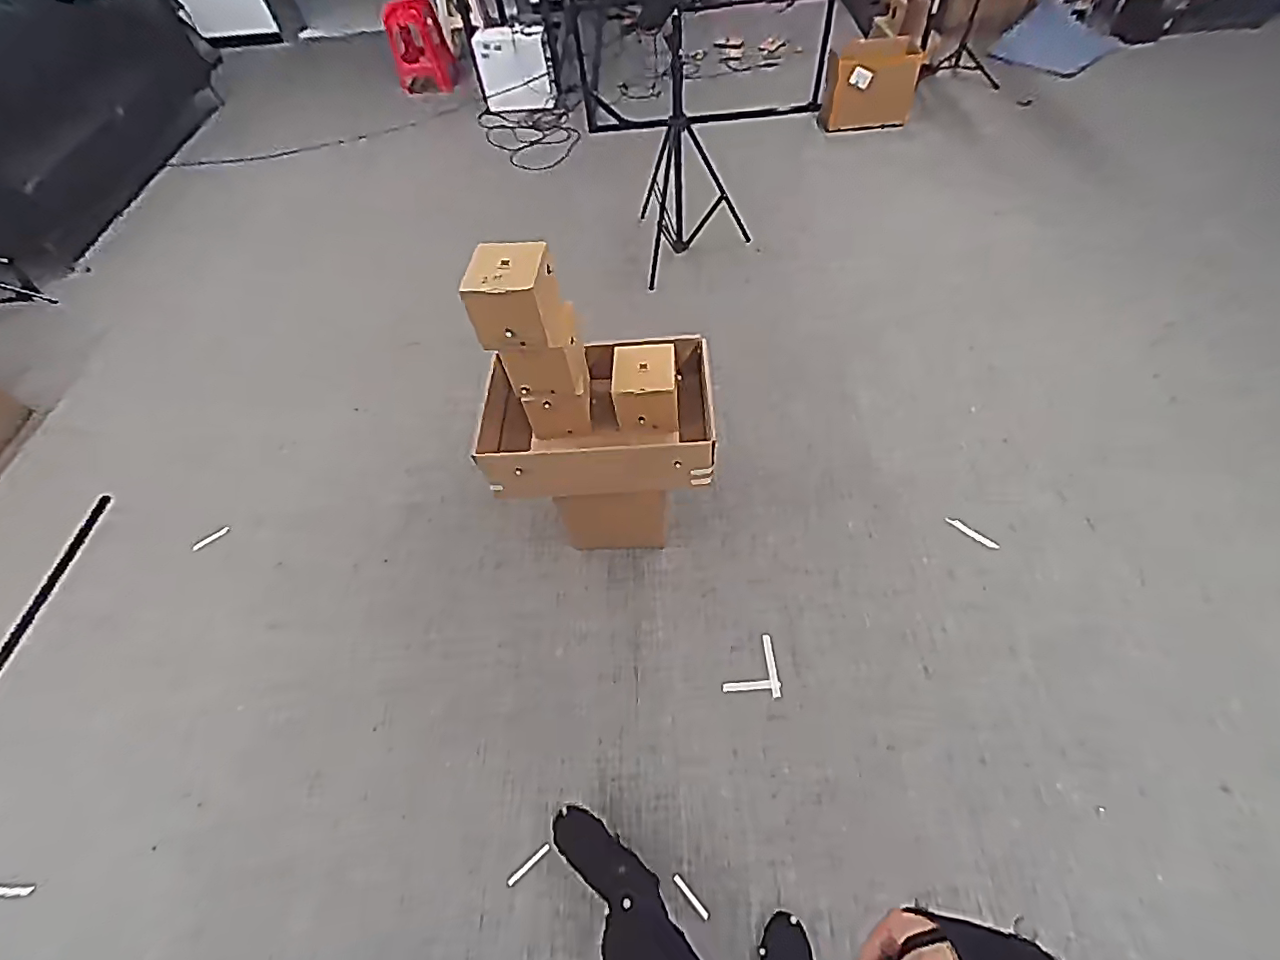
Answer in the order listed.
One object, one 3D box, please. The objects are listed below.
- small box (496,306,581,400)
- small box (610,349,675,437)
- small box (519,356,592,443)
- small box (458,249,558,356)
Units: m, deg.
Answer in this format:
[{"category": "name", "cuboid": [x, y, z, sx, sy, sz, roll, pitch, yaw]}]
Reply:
[{"category": "small box", "cuboid": [-0.250, -0.320, 1.385, 0.168, 0.176, 0.179, 0, 55, 5]}, {"category": "small box", "cuboid": [0.011, -0.240, 1.504, 0.168, 0.176, 0.179, -2, 56, 5]}, {"category": "small box", "cuboid": [-0.232, -0.226, 1.518, 0.168, 0.176, 0.179, -6, 55, 3]}, {"category": "small box", "cuboid": [-0.294, -0.410, 1.251, 0.168, 0.176, 0.179, 1, 56, 6]}]
